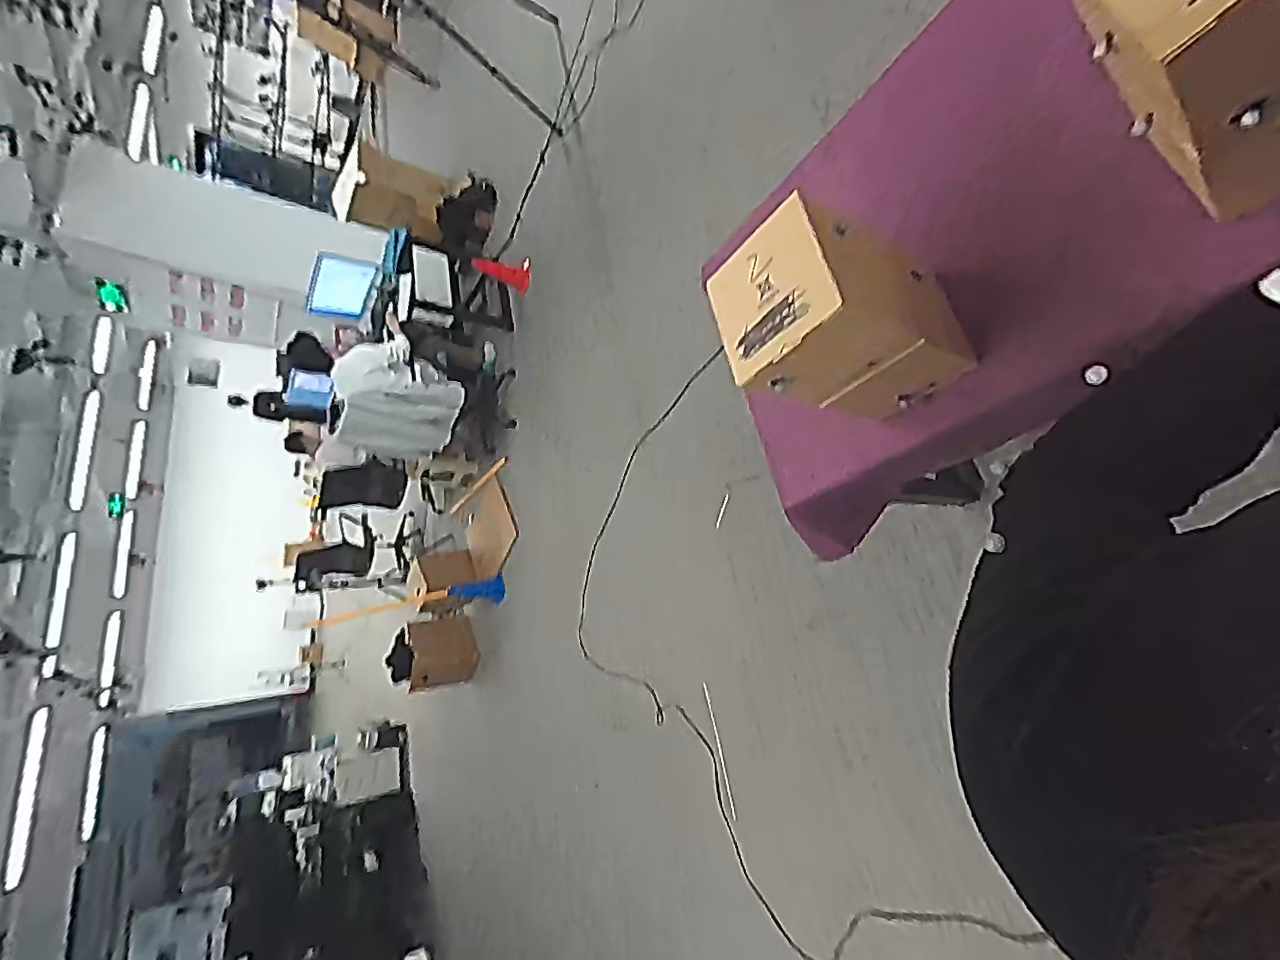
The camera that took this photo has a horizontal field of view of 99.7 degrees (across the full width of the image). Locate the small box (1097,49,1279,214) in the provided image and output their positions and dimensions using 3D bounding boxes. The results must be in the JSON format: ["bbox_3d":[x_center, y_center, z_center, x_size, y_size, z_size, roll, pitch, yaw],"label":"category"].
[{"bbox_3d":[0.596,-0.395,0.517,0.168,0.176,0.179,-38,57,46],"label":"small box"}]

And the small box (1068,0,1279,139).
[{"bbox_3d":[0.466,-0.406,0.417,0.168,0.176,0.179,-37,58,45],"label":"small box"}]

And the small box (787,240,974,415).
[{"bbox_3d":[0.358,-0.215,0.814,0.168,0.176,0.179,-36,60,46],"label":"small box"}]
